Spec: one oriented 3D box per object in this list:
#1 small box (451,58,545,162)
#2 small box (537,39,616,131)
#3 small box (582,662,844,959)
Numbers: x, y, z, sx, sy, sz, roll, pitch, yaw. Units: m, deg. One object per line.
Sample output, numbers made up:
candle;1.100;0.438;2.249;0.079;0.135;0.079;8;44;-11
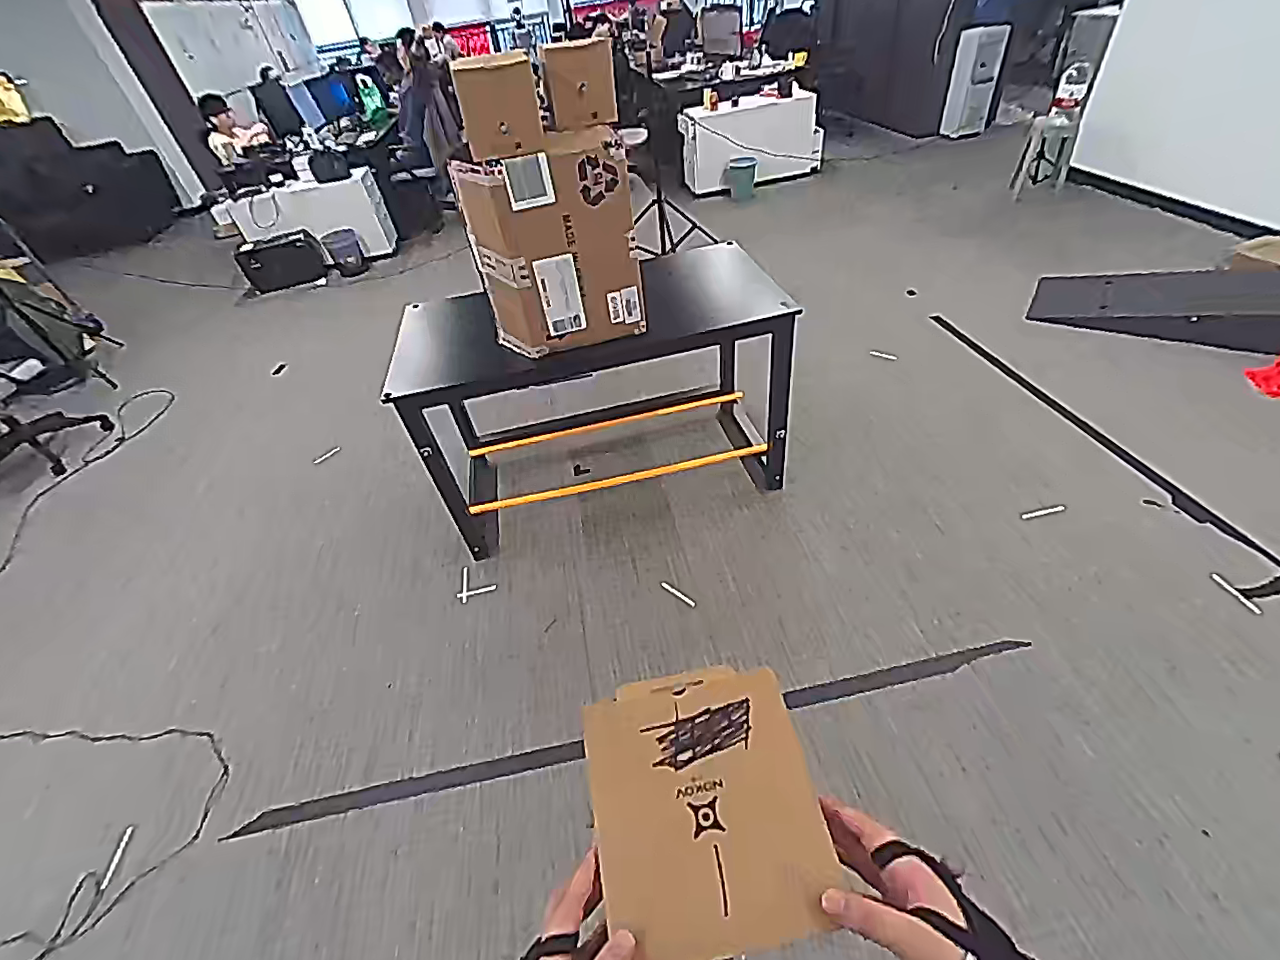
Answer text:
small box;-0.321;-0.838;1.225;0.168;0.176;0.179;-14;44;-8
small box;-0.163;-1.021;1.403;0.168;0.176;0.179;-13;43;-7
small box;0.048;0.286;0.473;0.168;0.176;0.179;-11;52;-4
